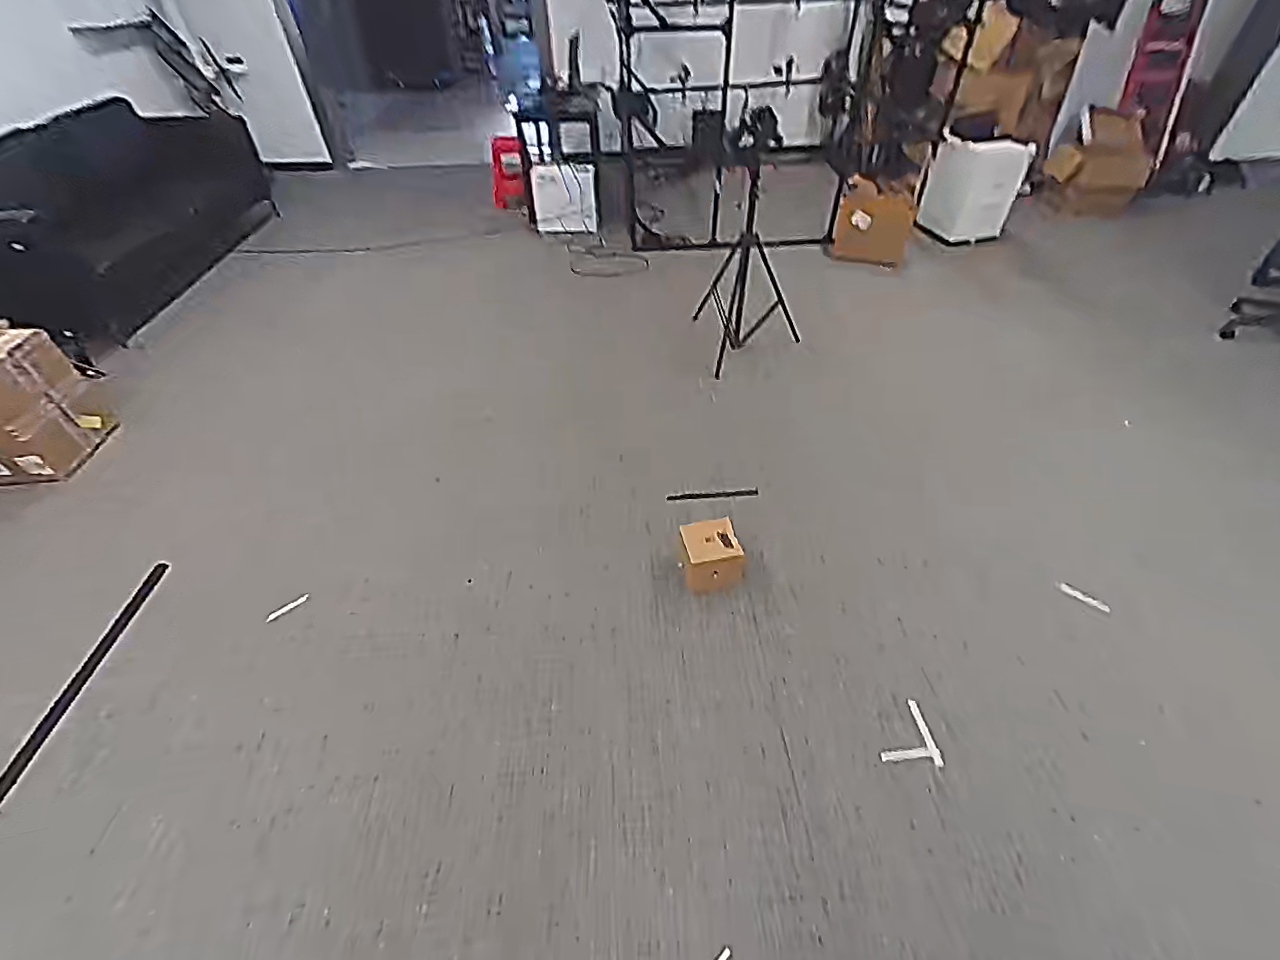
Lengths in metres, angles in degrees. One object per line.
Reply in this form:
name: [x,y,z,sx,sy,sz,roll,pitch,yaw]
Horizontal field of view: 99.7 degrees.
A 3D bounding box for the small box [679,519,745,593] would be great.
small box: [0.235,0.255,1.805,0.179,0.176,0.168,-9,44,-7]
